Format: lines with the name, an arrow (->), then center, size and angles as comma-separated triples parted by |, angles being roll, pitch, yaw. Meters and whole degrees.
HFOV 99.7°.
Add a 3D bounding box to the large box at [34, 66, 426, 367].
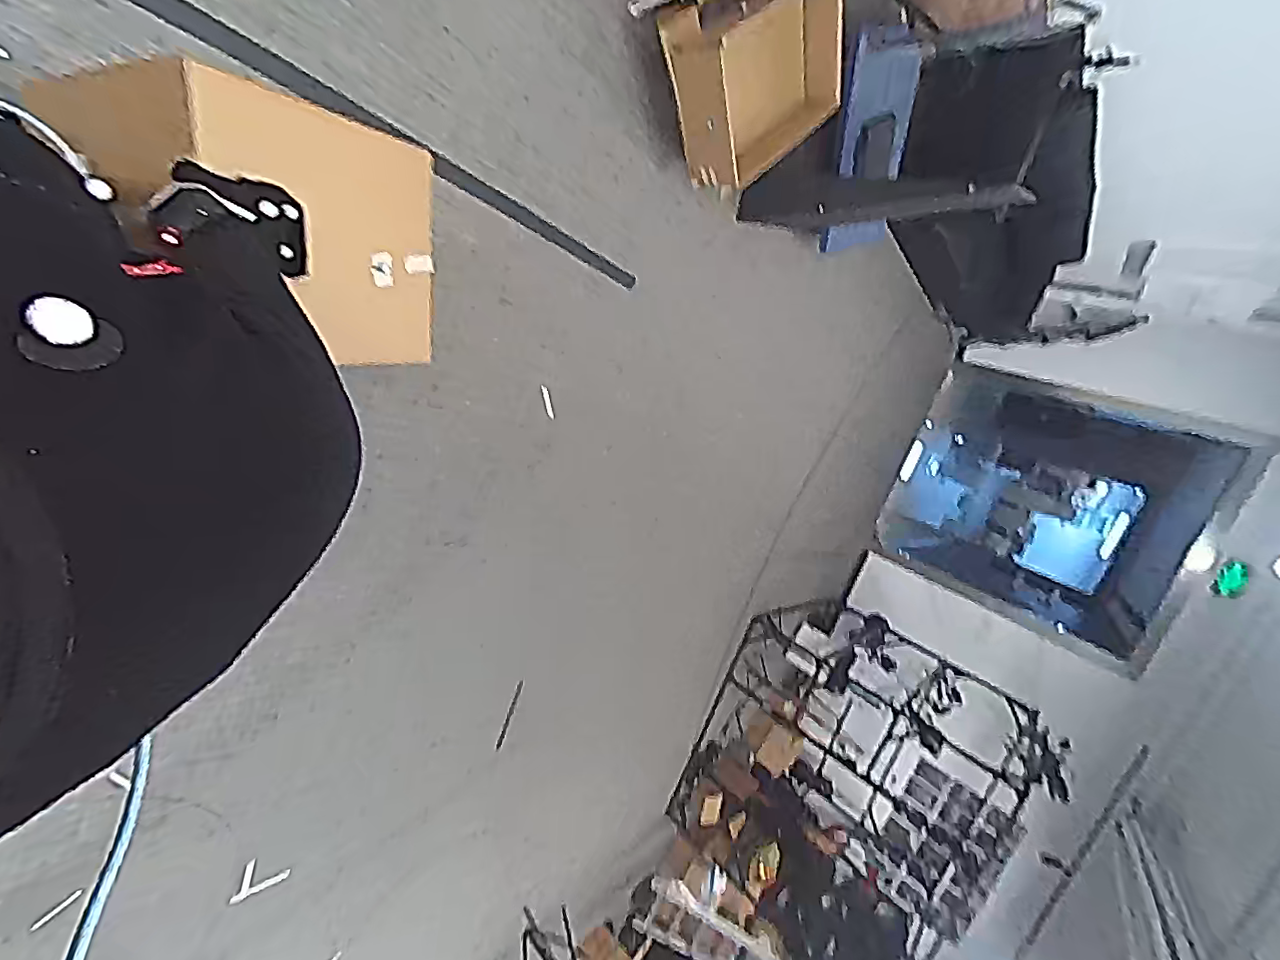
large box -> -0.578, -0.350, 0.803 | 0.320, 0.408, 0.320 | -20, 122, -60
